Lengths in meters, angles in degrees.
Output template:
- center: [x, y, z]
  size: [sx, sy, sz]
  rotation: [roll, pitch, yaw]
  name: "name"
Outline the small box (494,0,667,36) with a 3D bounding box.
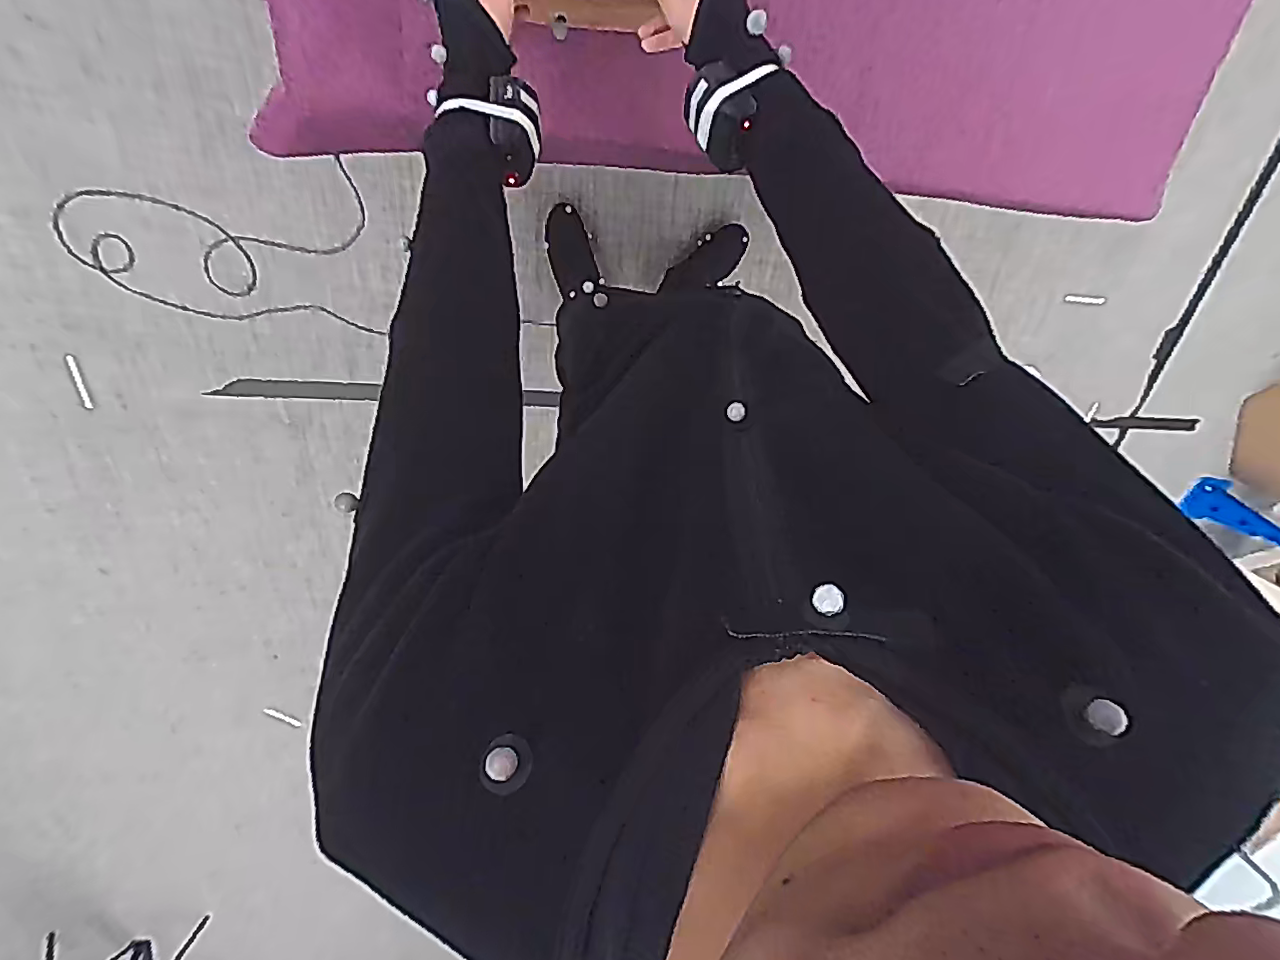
- center: [-0.062, -0.540, 0.492]
  size: [0.168, 0.176, 0.179]
  rotation: [-2, 120, -10]
  name: "small box"
